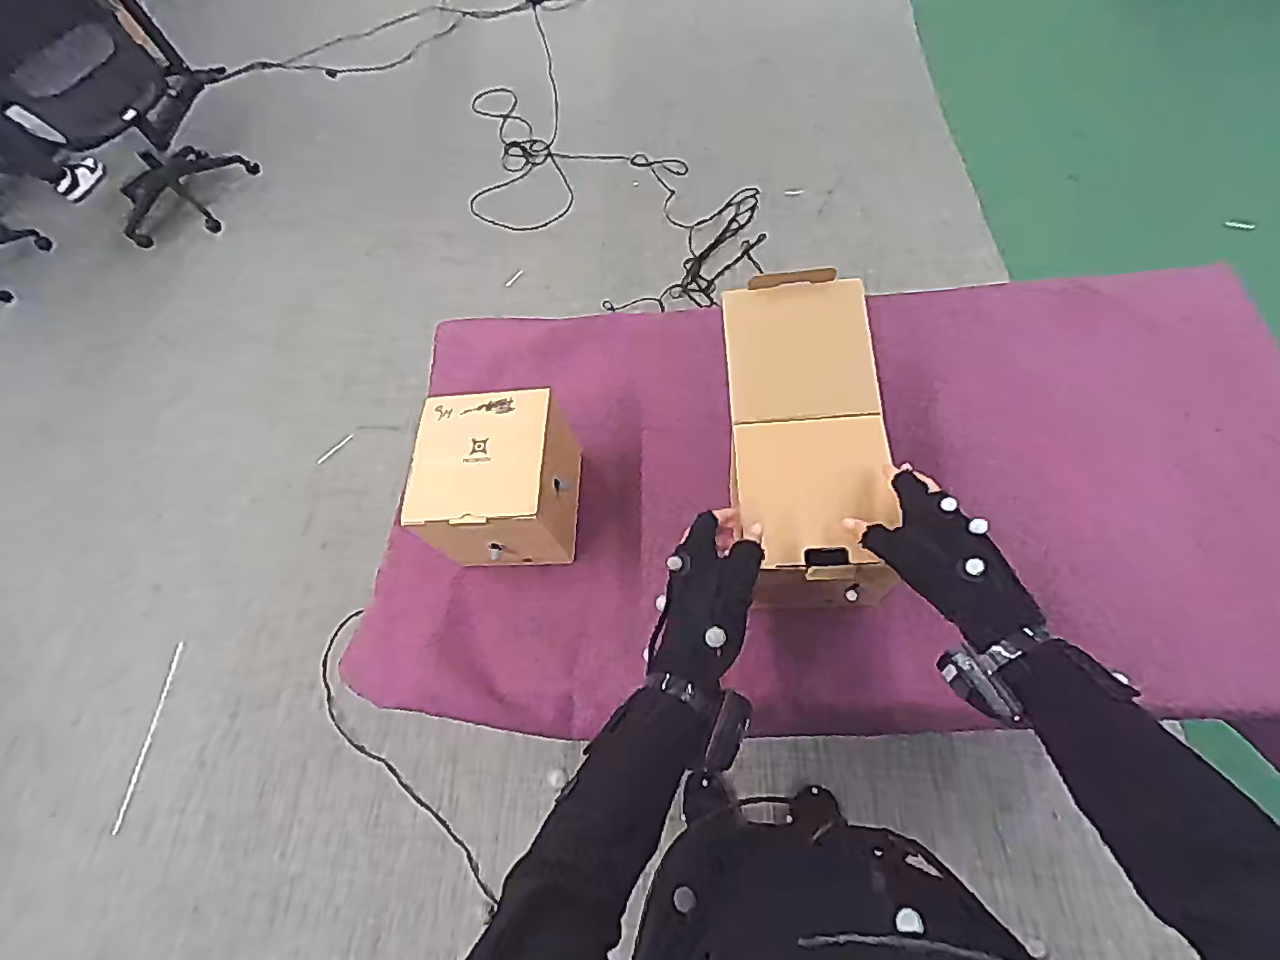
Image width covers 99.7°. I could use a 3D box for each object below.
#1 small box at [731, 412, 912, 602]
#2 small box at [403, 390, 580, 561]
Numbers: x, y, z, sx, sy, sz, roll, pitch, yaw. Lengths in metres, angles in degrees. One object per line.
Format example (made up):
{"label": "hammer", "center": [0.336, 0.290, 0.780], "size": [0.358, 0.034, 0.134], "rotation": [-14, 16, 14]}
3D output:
{"label": "small box", "center": [0.196, 0.042, 0.636], "size": [0.168, 0.176, 0.179], "rotation": [-3, 63, 7]}
{"label": "small box", "center": [-0.180, 0.005, 0.715], "size": [0.168, 0.176, 0.179], "rotation": [-3, 64, 7]}
